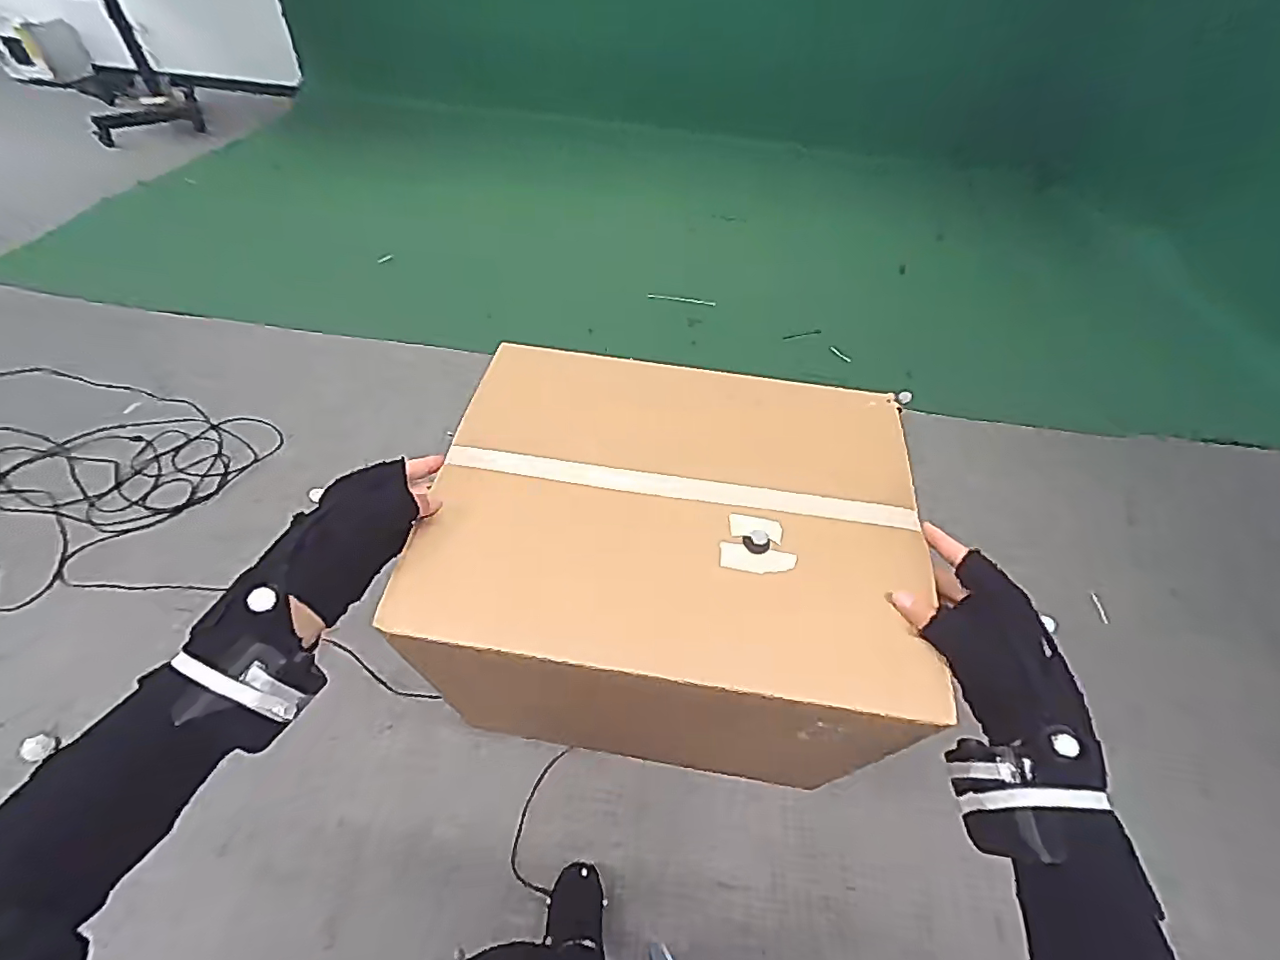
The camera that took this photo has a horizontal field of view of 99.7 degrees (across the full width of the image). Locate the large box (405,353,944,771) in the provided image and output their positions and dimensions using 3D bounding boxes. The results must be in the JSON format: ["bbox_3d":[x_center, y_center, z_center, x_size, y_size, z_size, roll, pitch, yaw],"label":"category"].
[{"bbox_3d":[0.031,0.099,0.596,0.408,0.320,0.320,9,54,2],"label":"large box"}]
